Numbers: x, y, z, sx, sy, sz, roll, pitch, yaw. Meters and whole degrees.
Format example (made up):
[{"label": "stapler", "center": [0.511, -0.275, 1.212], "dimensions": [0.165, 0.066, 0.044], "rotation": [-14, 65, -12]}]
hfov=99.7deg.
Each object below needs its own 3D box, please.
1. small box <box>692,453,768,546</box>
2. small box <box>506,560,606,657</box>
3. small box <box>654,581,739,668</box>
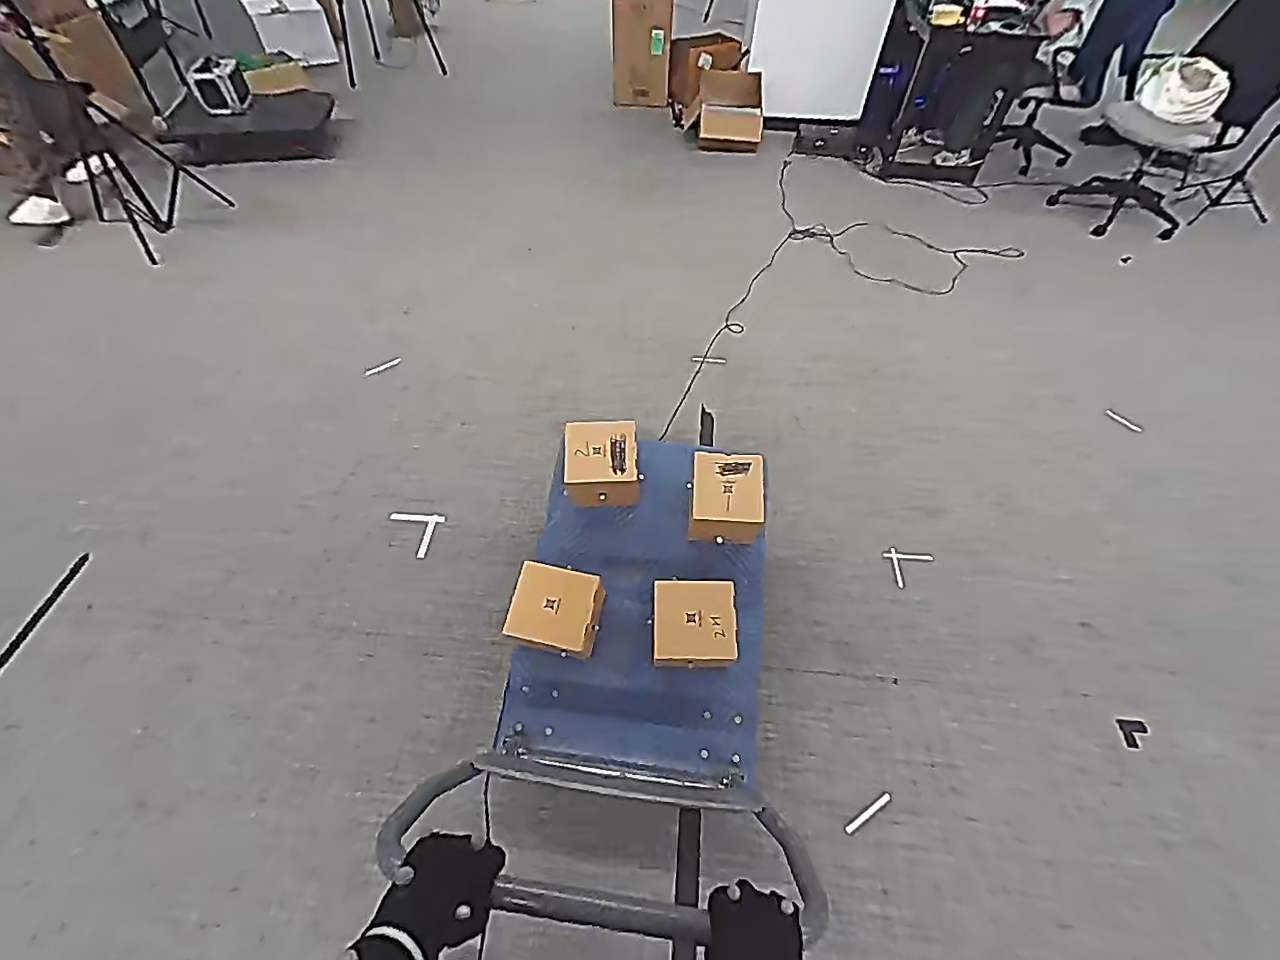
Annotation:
[{"label": "small box", "center": [0.219, 0.051, 1.344], "dimensions": [0.168, 0.176, 0.179], "rotation": [4, 67, 3]}, {"label": "small box", "center": [-0.183, 0.300, 1.242], "dimensions": [0.179, 0.176, 0.168], "rotation": [12, 66, 5]}, {"label": "small box", "center": [0.123, 0.330, 1.220], "dimensions": [0.179, 0.176, 0.168], "rotation": [1, 66, 2]}]
